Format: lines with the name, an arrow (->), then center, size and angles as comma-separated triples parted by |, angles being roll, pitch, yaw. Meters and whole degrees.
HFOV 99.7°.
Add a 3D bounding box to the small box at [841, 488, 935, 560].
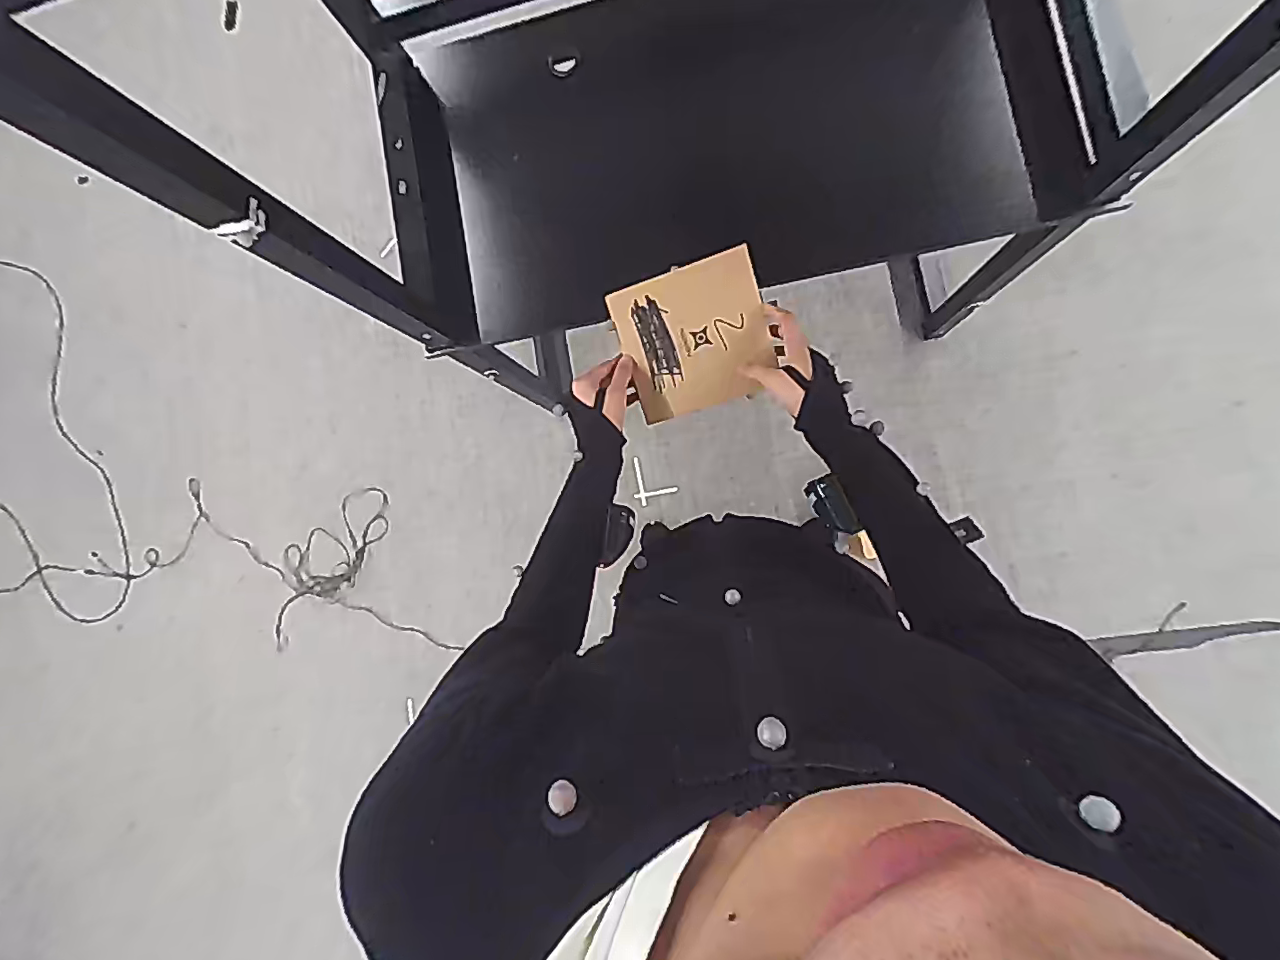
small box -> 0.671, 0.117, 1.482 | 0.179, 0.176, 0.168 | -12, 85, 9
